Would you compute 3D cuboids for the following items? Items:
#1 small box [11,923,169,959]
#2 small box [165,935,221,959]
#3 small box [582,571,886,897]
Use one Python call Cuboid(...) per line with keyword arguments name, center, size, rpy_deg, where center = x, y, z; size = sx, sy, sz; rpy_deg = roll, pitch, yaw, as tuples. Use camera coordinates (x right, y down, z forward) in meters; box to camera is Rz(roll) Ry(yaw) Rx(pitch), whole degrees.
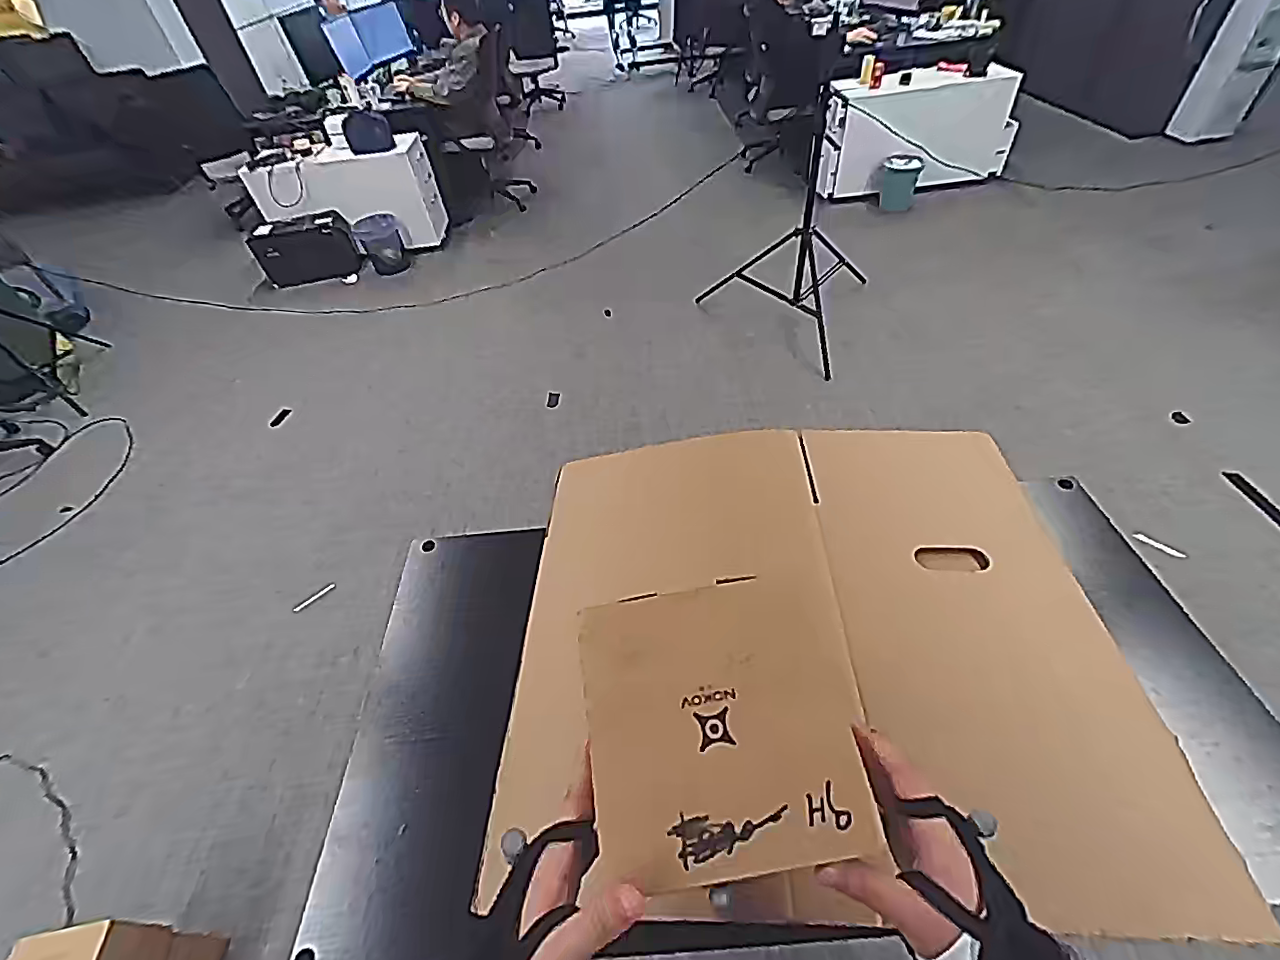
Cuboid(name="small box", center=(-1.015, 0.933, 0.976), size=(0.168, 0.176, 0.179), rpy_deg=(-10, 46, -4))
Cuboid(name="small box", center=(-0.999, 1.048, 1.090), size=(0.168, 0.176, 0.179), rpy_deg=(-9, 47, -1))
Cuboid(name="small box", center=(0.056, 0.193, 0.416), size=(0.168, 0.176, 0.179), rpy_deg=(-11, 57, 1))
